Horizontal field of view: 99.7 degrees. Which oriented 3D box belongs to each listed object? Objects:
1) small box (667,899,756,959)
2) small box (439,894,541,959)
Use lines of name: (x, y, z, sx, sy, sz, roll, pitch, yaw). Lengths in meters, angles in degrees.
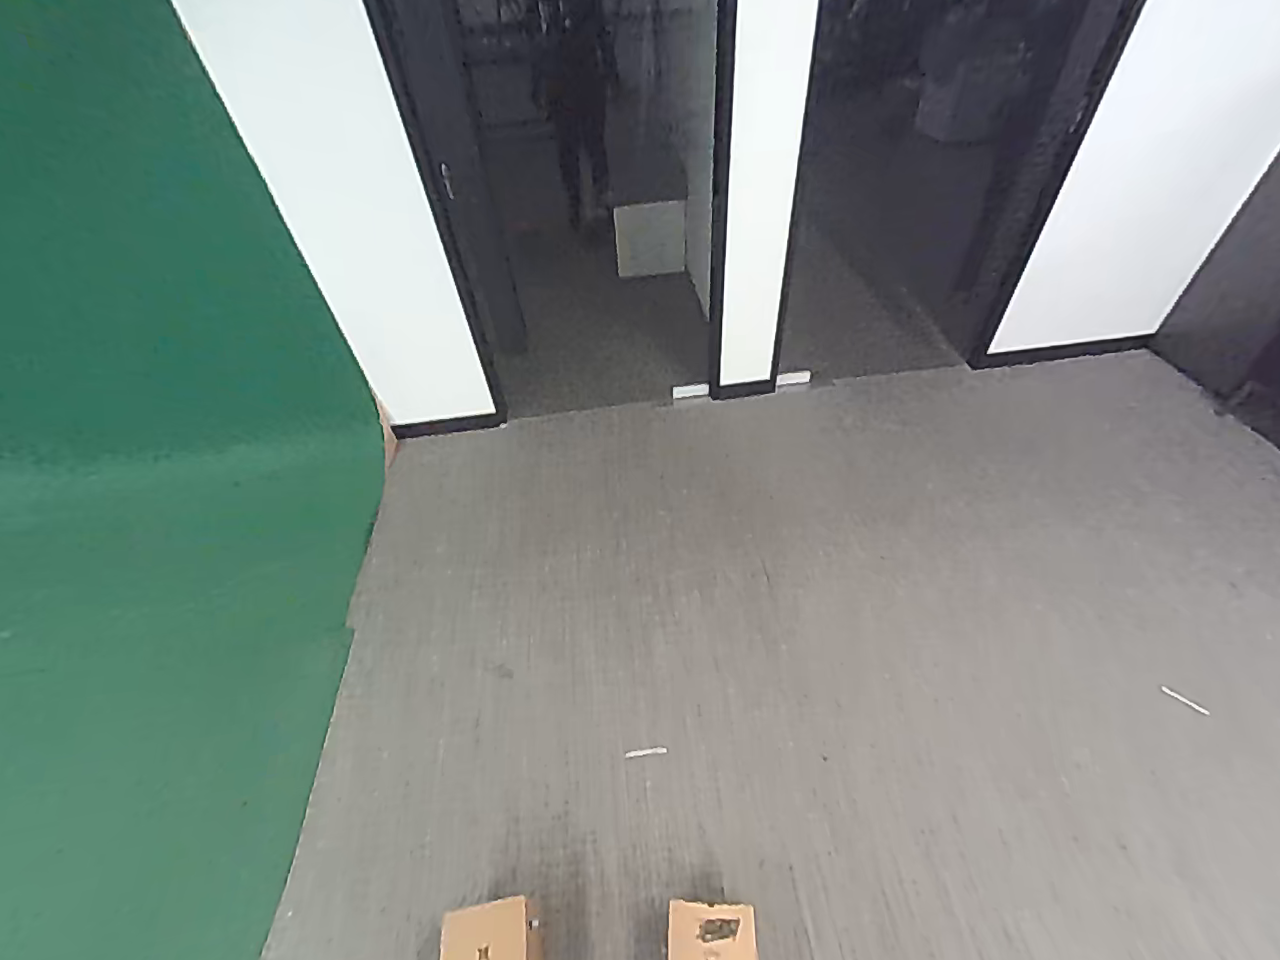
small box: (0.135, 0.940, 1.046, 0.168, 0.176, 0.179, 0, 46, 6)
small box: (-0.292, 0.955, 1.068, 0.168, 0.176, 0.179, -9, 45, -4)
